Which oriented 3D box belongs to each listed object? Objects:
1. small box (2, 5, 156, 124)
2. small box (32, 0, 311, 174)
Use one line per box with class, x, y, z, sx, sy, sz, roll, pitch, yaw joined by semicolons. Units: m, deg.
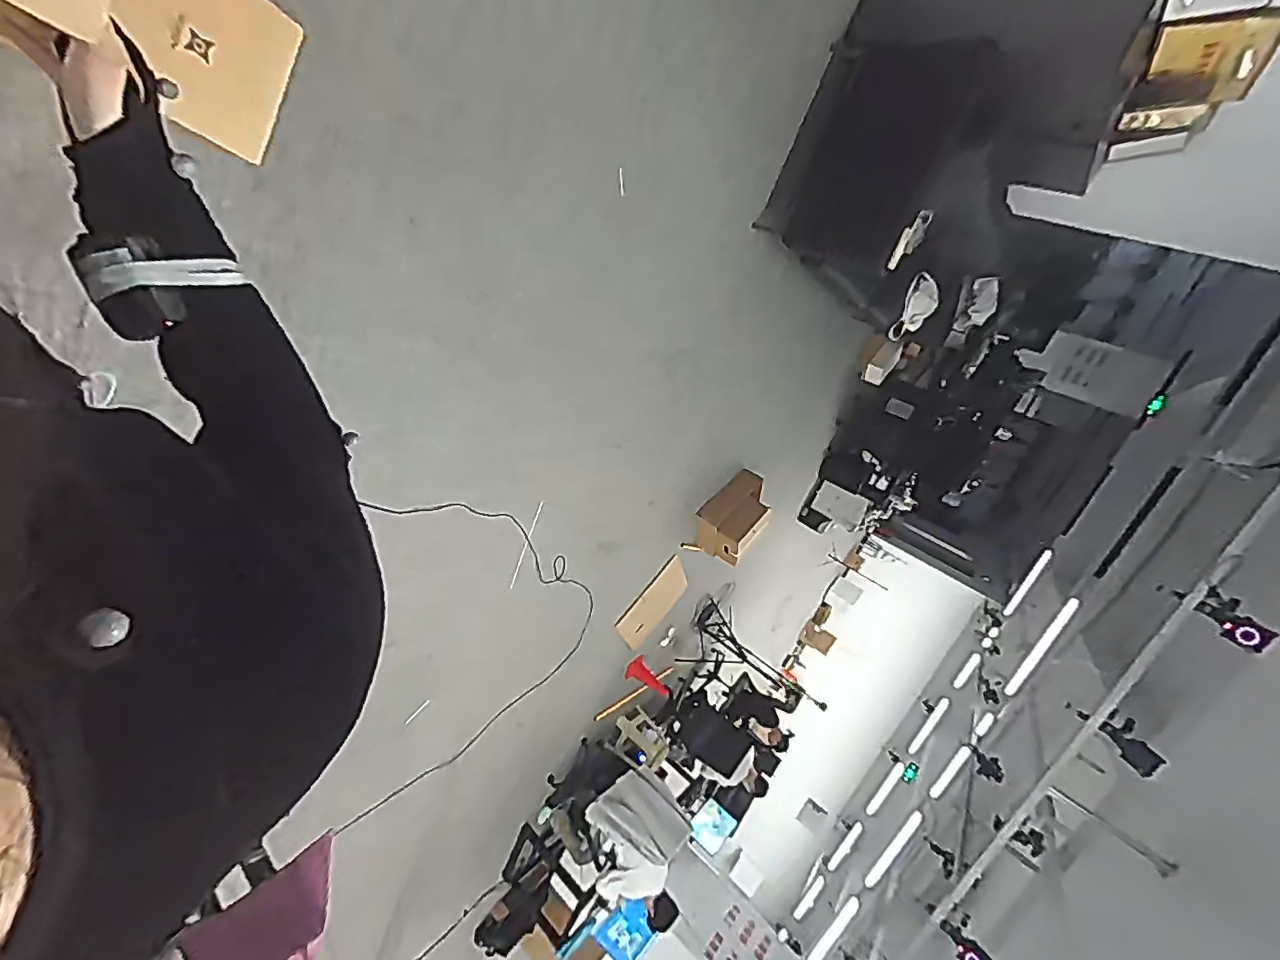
small box;-0.645;-0.566;0.674;0.168;0.176;0.179;8;109;-60
small box;-0.520;-0.486;0.606;0.179;0.176;0.168;10;109;-60
